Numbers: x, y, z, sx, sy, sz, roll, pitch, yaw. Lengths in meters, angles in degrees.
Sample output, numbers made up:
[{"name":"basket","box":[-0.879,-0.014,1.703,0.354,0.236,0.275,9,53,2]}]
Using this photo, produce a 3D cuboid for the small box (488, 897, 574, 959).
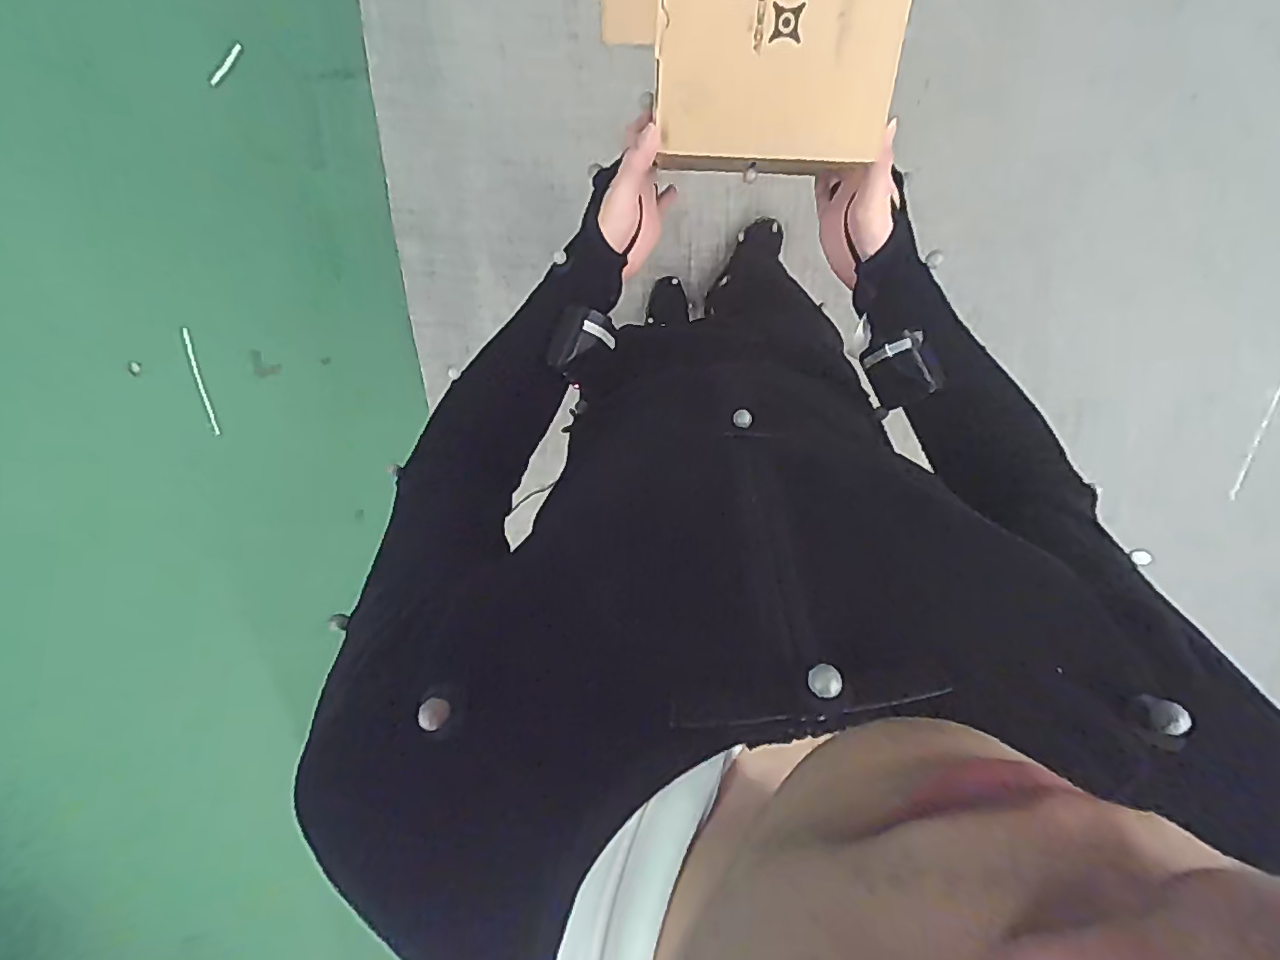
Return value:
[{"name":"small box","box":[-0.267,1.178,1.348,0.179,0.176,0.168,-2,114,2]}]

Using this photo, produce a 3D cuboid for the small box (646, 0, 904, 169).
[{"name":"small box","box":[0.102,-0.362,0.453,0.179,0.176,0.168,4,117,3]}]
